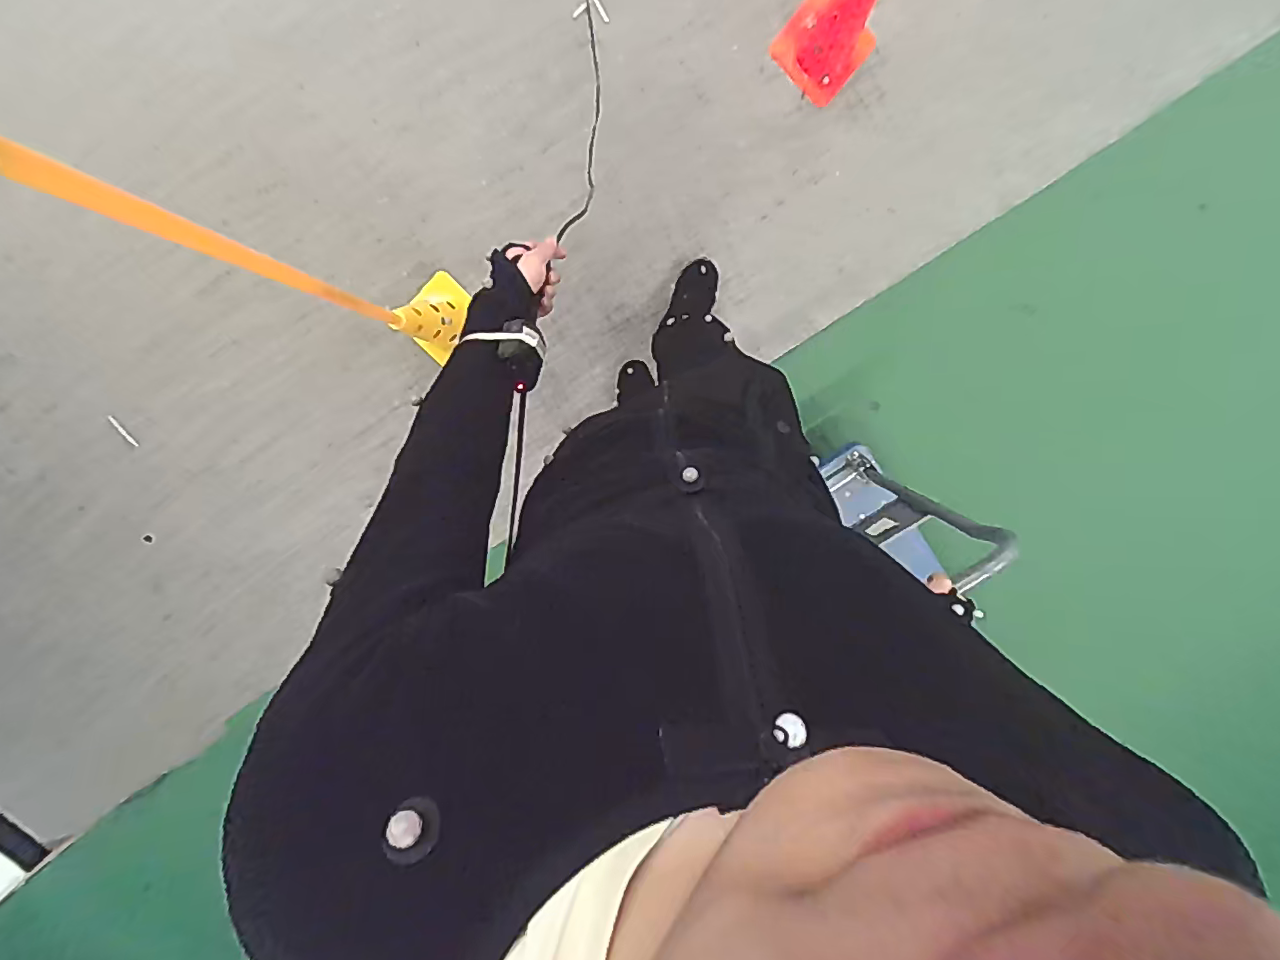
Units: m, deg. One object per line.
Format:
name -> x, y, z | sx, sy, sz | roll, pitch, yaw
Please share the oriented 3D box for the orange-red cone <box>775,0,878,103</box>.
orange-red cone -> 0.462, -1.027, 1.163 | 0.198, 0.360, 0.199 | 40, 100, -12
